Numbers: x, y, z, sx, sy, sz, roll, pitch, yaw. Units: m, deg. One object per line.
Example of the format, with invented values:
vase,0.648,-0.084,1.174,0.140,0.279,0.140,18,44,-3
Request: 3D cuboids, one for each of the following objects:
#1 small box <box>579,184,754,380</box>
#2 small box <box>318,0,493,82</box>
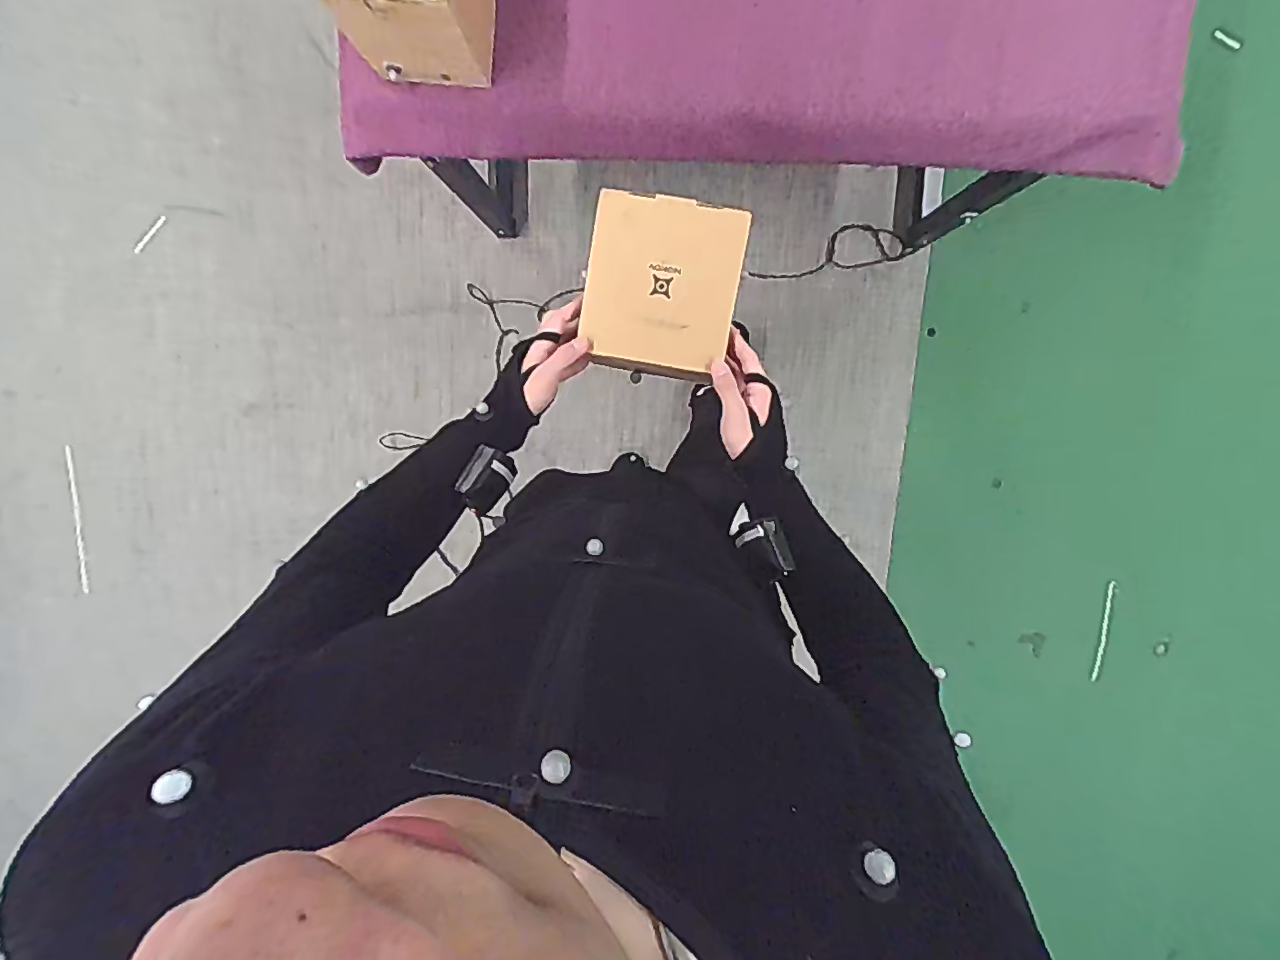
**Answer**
small box,0.029,-0.226,0.662,0.168,0.176,0.179,10,98,1
small box,-0.293,-0.655,0.695,0.168,0.176,0.179,5,97,0
